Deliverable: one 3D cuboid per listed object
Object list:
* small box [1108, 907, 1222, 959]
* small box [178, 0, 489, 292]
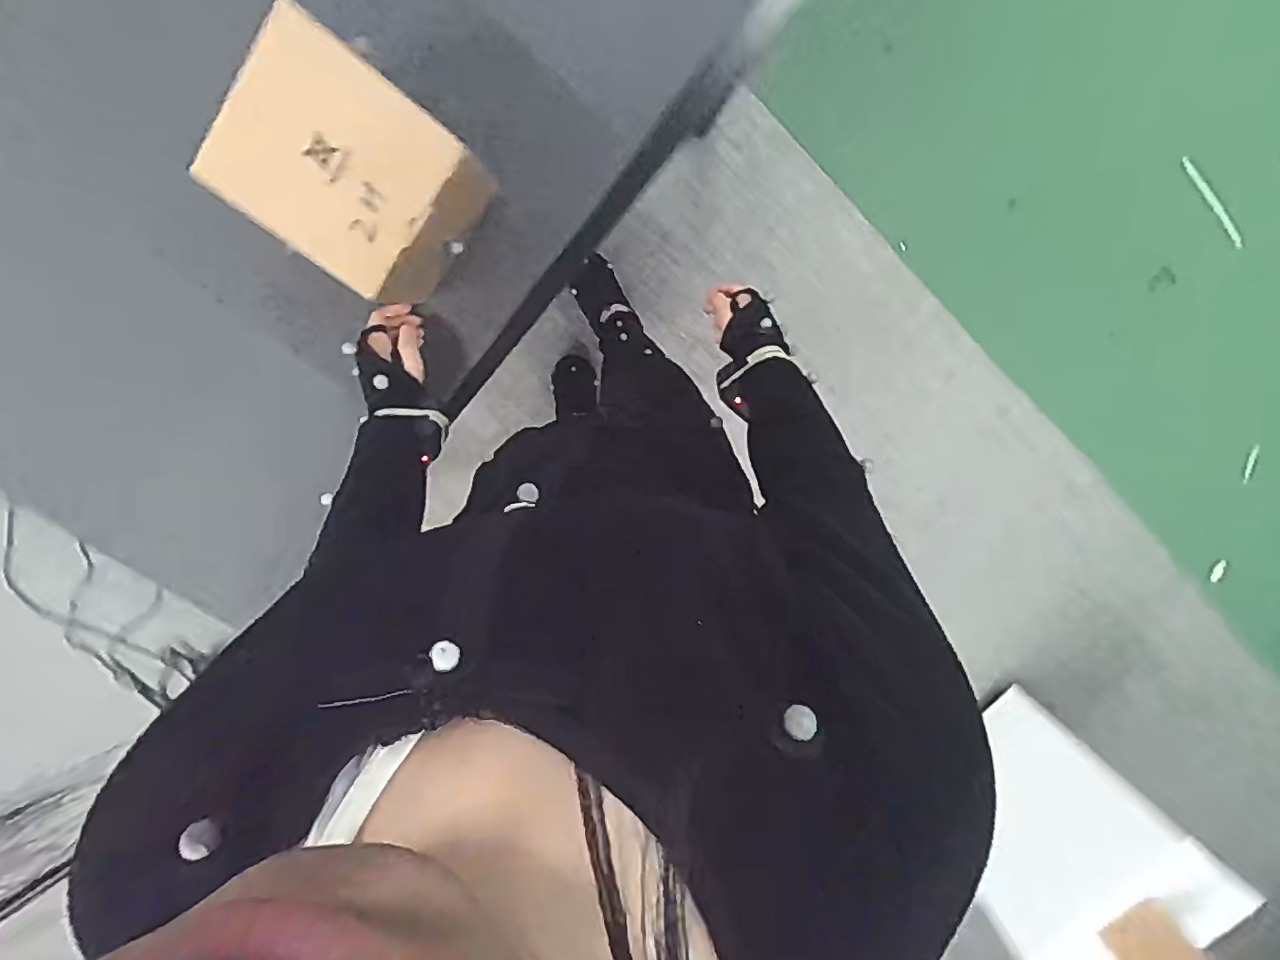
[{"bbox_3d":[1.272,1.156,1.266,0.179,0.176,0.168,37,100,-15],"label":"small box"},{"bbox_3d":[-0.278,-0.303,0.534,0.179,0.176,0.168,35,101,-13],"label":"small box"}]
